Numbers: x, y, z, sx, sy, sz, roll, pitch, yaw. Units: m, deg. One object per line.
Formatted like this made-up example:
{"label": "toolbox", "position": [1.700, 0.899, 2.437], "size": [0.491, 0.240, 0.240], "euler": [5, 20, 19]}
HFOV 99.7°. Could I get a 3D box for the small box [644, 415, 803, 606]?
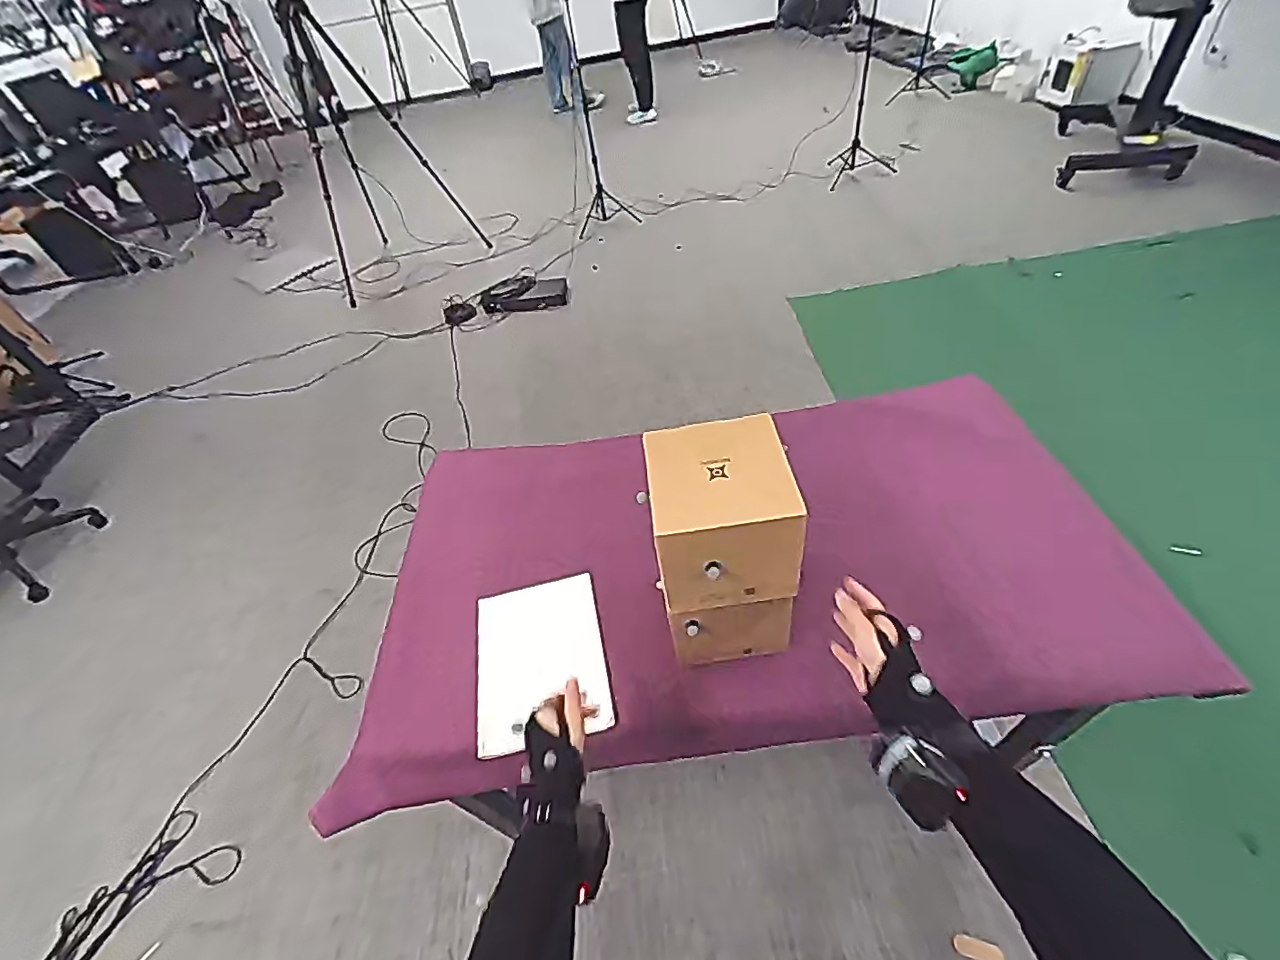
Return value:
{"label": "small box", "position": [0.102, 0.045, 0.691], "size": [0.168, 0.176, 0.179], "euler": [-8, 44, 3]}
